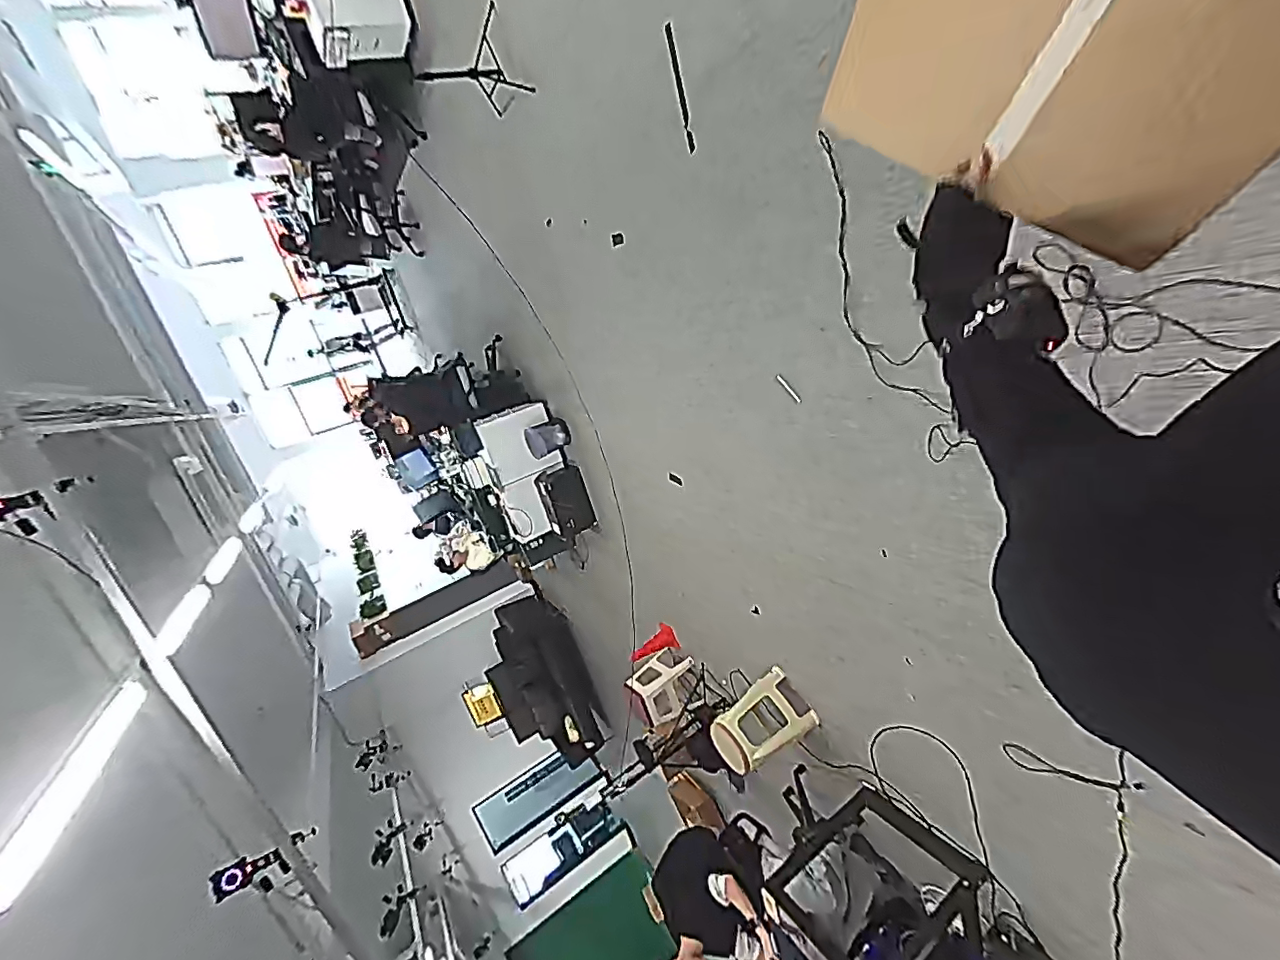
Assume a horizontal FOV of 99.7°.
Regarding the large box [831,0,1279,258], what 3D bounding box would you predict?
[{"bbox_3d":[0.402,-0.460,0.379,0.320,0.320,0.408,35,154,16],"label":"large box"}]
